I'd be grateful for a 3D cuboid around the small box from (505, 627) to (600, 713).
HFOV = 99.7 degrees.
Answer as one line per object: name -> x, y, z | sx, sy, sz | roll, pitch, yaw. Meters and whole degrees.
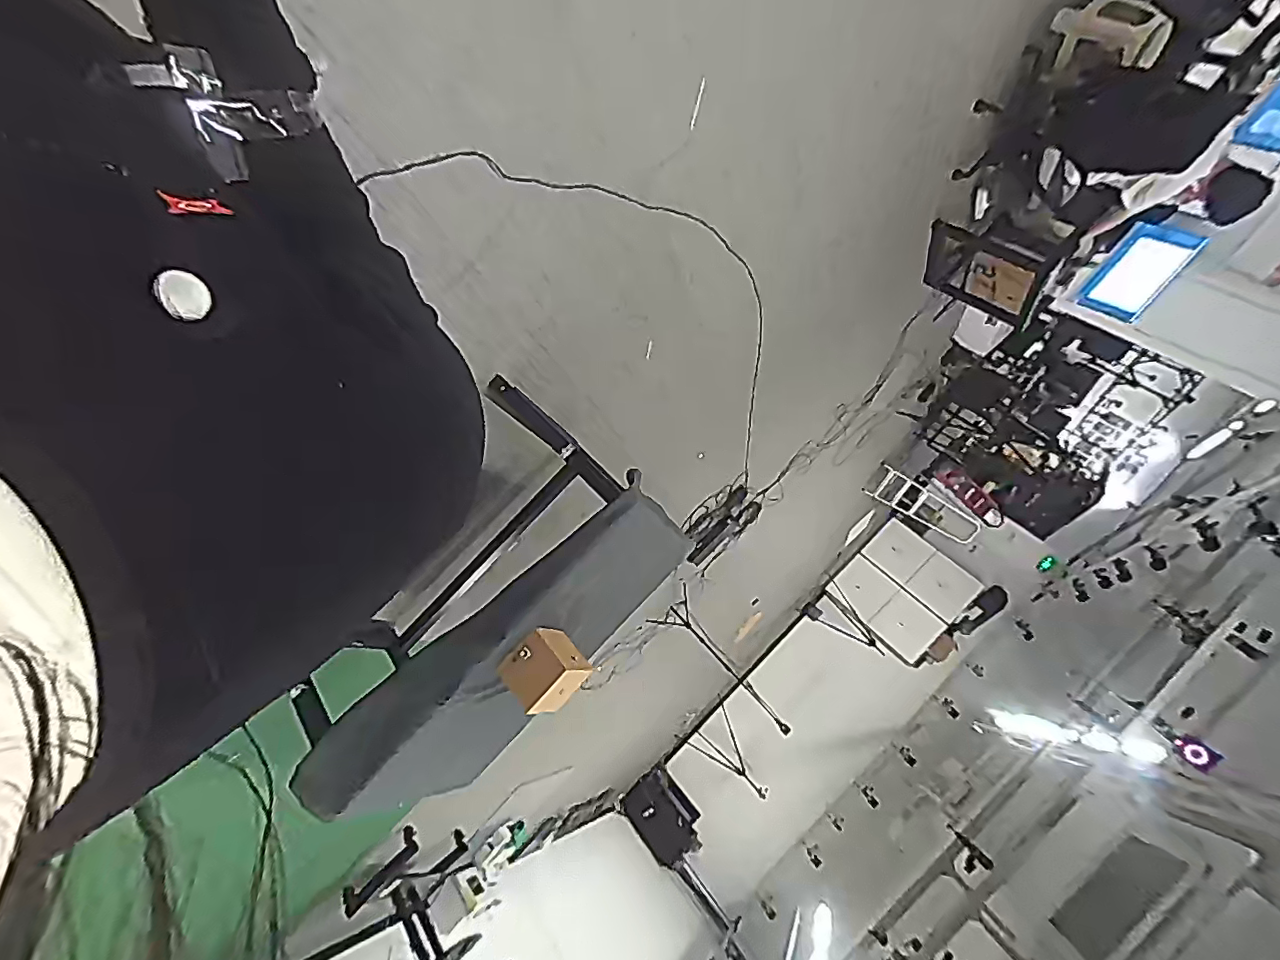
small box -> -0.254, 0.550, 1.574 | 0.168, 0.176, 0.179 | -49, 150, 0
